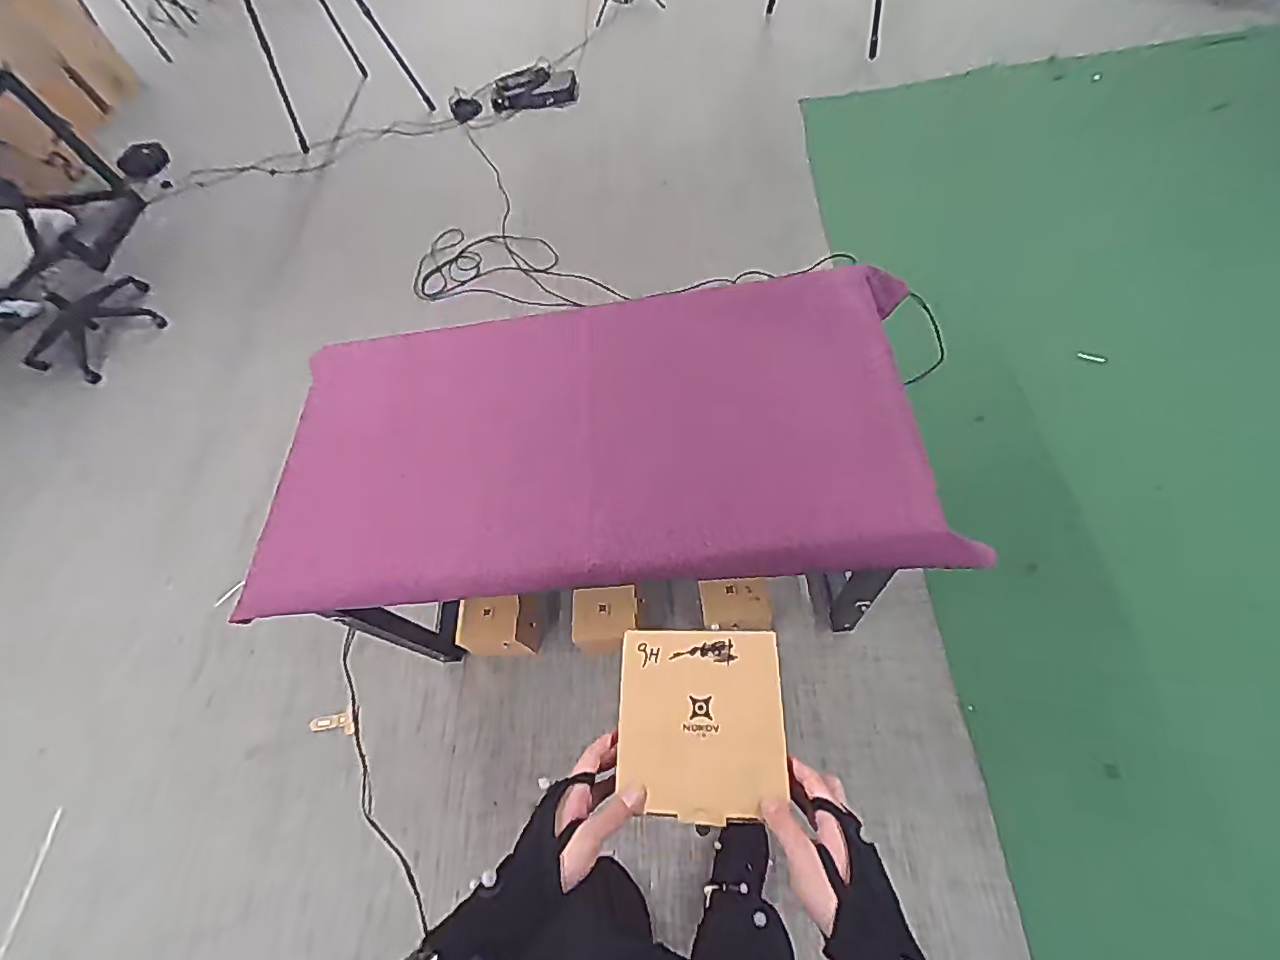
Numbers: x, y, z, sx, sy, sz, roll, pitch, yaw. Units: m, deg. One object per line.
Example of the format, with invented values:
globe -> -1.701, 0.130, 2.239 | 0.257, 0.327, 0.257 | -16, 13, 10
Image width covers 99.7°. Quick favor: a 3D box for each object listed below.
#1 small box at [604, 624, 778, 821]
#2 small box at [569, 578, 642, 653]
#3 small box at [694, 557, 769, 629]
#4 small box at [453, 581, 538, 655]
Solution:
small box -> 0.062, 0.270, 0.606 | 0.168, 0.176, 0.179 | -1, 60, 8
small box -> -0.088, 0.380, 1.506 | 0.179, 0.176, 0.168 | -6, 60, 8
small box -> 0.249, 0.325, 1.471 | 0.179, 0.176, 0.168 | -9, 61, 6
small box -> -0.409, 0.402, 1.554 | 0.179, 0.176, 0.168 | -6, 60, 7
